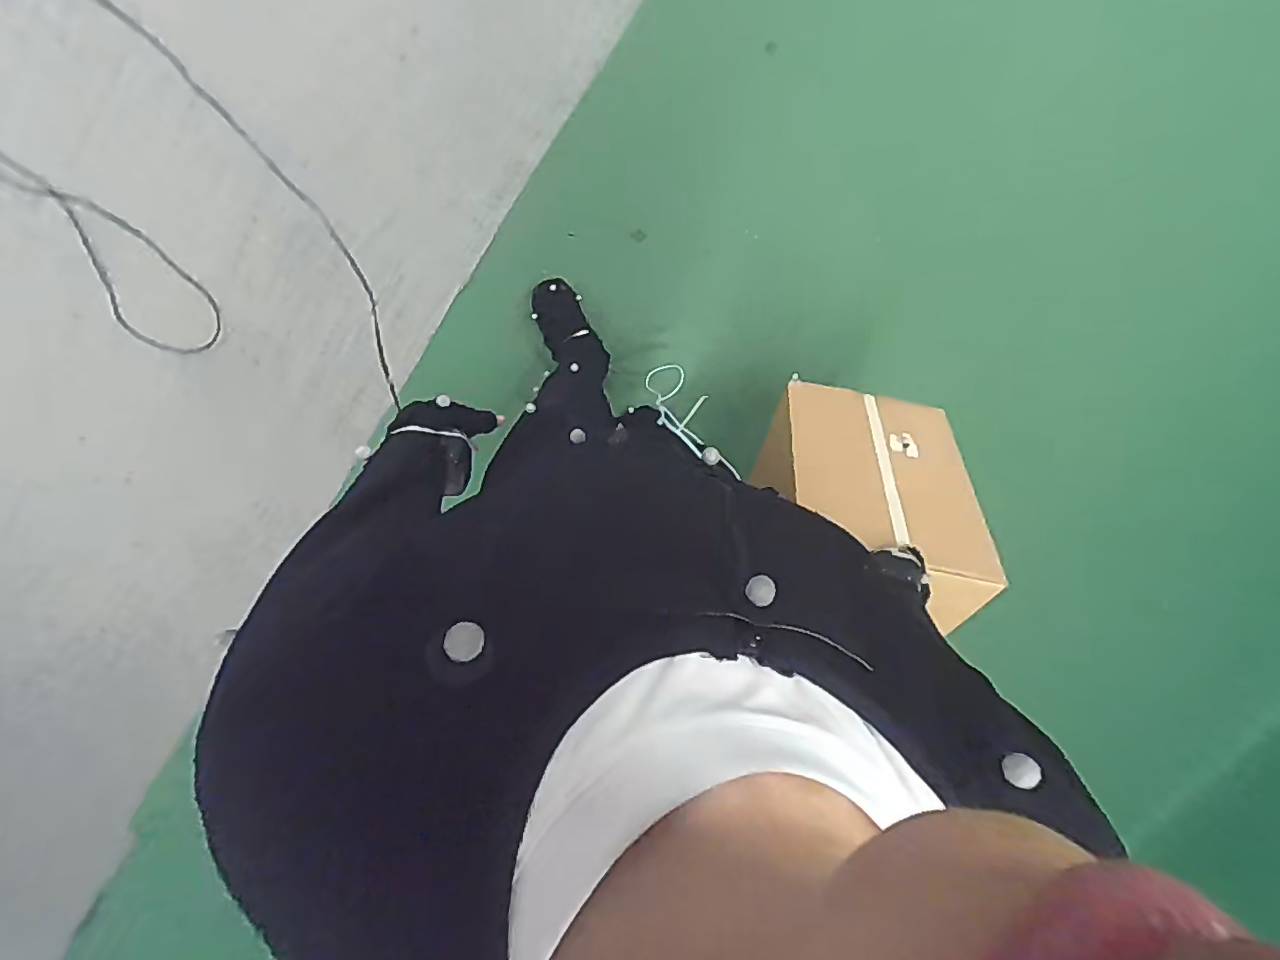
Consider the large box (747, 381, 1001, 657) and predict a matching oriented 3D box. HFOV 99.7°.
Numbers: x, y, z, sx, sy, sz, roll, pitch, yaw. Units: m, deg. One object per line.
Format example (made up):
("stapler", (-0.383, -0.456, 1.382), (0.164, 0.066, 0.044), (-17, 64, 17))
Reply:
("large box", (0.395, 0.073, 1.042), (0.320, 0.408, 0.320), (11, 137, 0))
